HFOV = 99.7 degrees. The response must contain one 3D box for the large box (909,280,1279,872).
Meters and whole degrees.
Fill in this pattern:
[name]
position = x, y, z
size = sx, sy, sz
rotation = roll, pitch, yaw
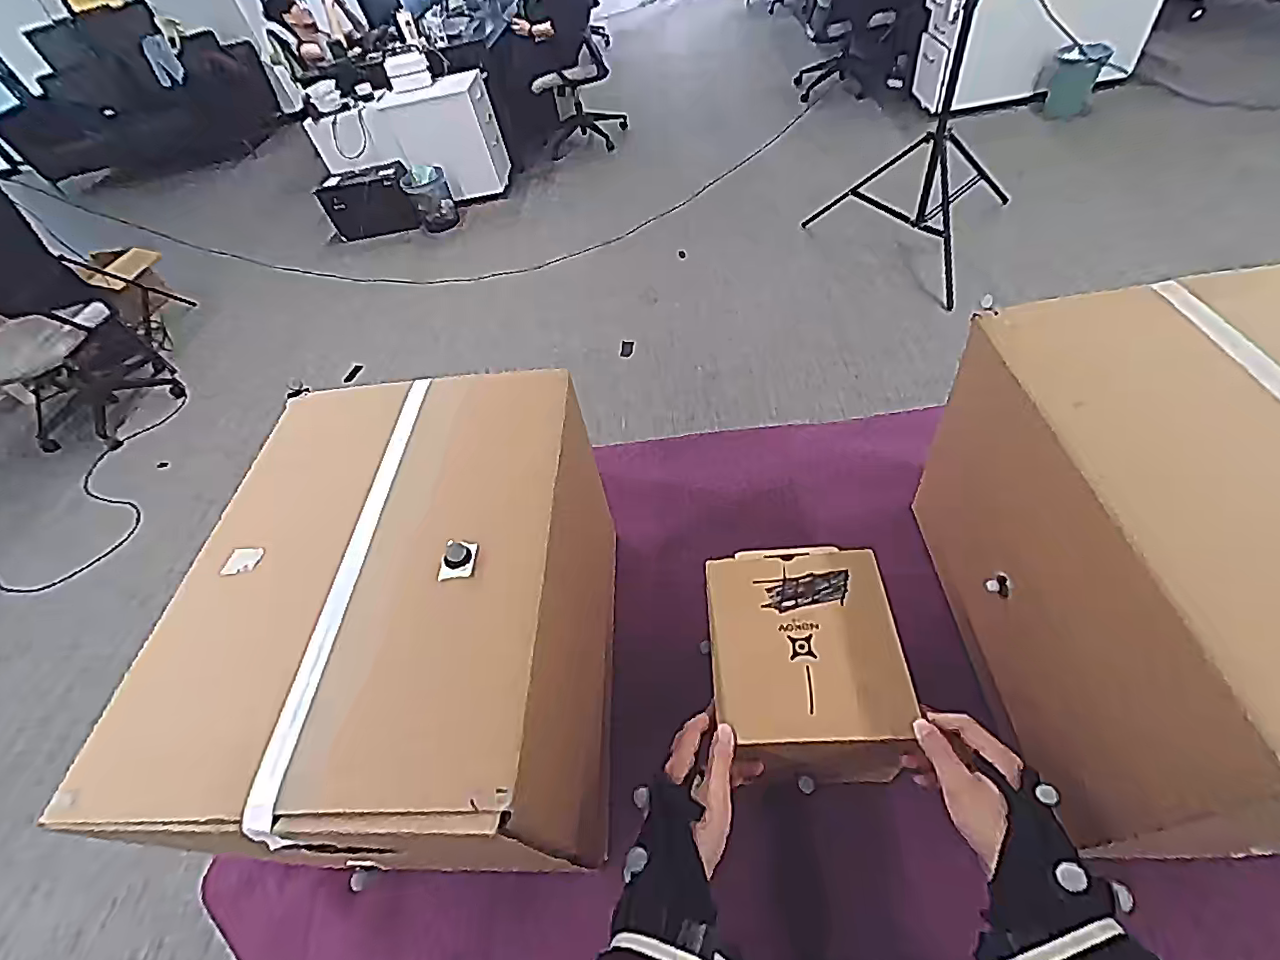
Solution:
[large box]
position = 0.487, 0.083, 0.481
size = 0.320, 0.320, 0.408
rotation = -6, 48, 7
